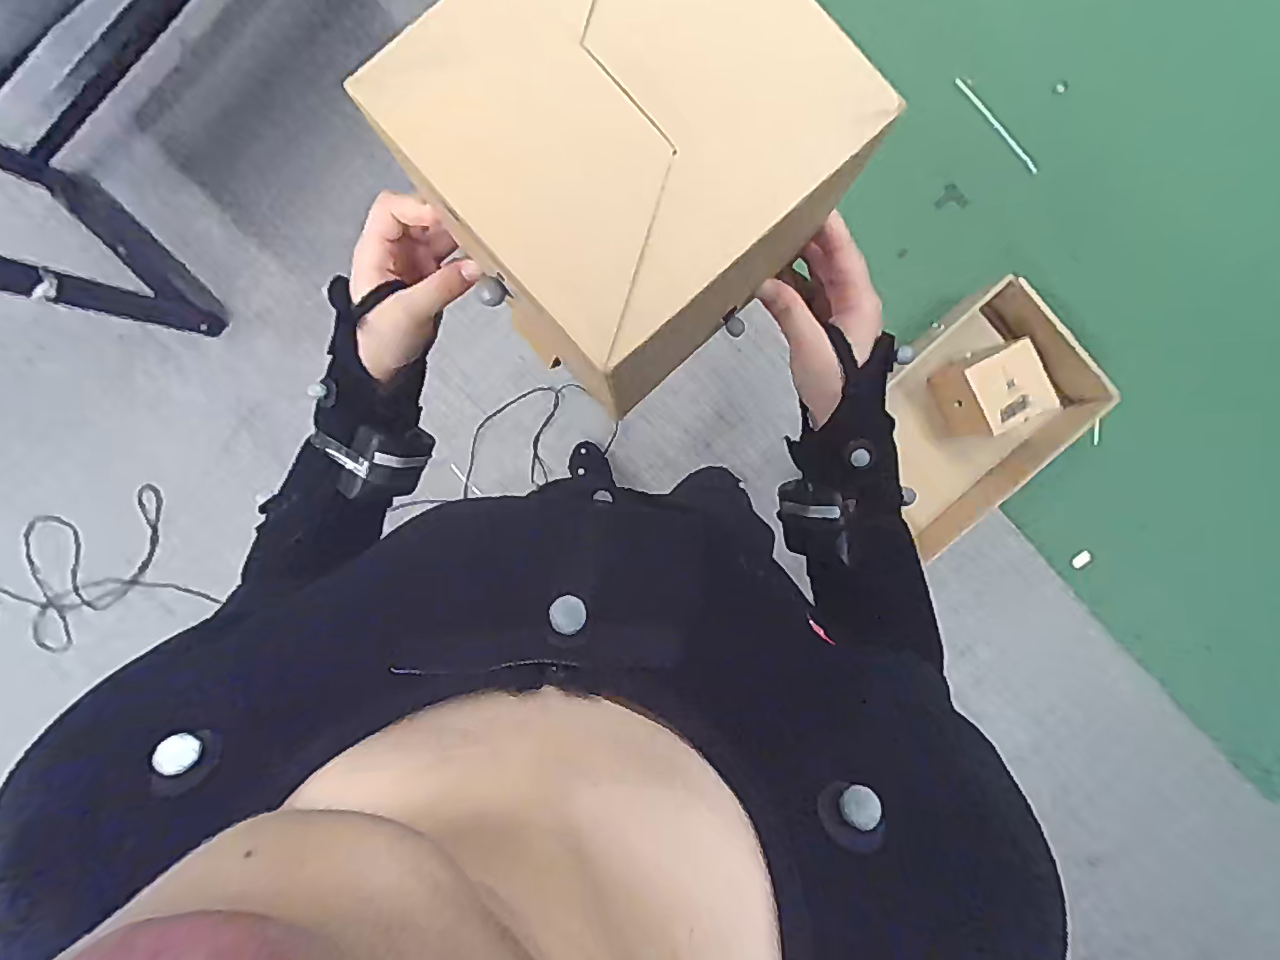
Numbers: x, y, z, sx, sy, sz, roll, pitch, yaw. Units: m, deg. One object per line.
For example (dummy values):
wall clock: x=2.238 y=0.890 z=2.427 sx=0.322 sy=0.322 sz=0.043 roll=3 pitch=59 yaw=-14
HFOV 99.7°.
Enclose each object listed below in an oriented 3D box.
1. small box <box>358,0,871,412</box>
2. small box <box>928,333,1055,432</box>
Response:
small box: x=-0.009 y=-0.162 z=0.309 sx=0.179 sy=0.176 sz=0.168 roll=-43 pitch=90 yaw=-1
small box: x=0.849 y=-0.234 z=1.321 sx=0.168 sy=0.176 sz=0.179 roll=-28 pitch=95 yaw=4
